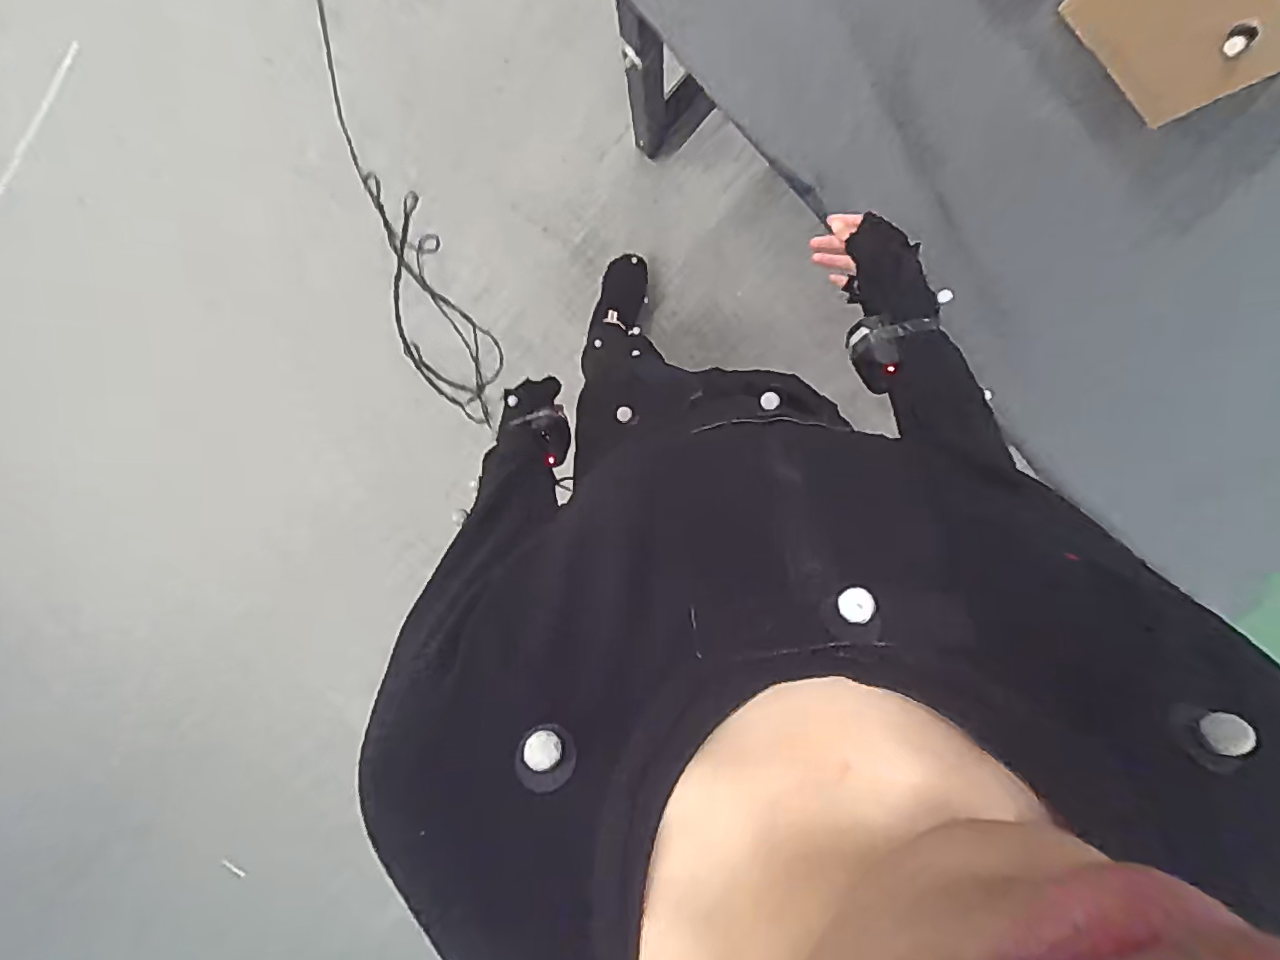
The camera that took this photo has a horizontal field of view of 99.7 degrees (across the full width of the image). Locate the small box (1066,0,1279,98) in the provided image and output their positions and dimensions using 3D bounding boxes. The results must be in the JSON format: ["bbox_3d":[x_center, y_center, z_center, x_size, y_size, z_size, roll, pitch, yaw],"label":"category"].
[{"bbox_3d":[0.560,-0.496,0.494,0.179,0.176,0.168,42,102,-7],"label":"small box"}]
